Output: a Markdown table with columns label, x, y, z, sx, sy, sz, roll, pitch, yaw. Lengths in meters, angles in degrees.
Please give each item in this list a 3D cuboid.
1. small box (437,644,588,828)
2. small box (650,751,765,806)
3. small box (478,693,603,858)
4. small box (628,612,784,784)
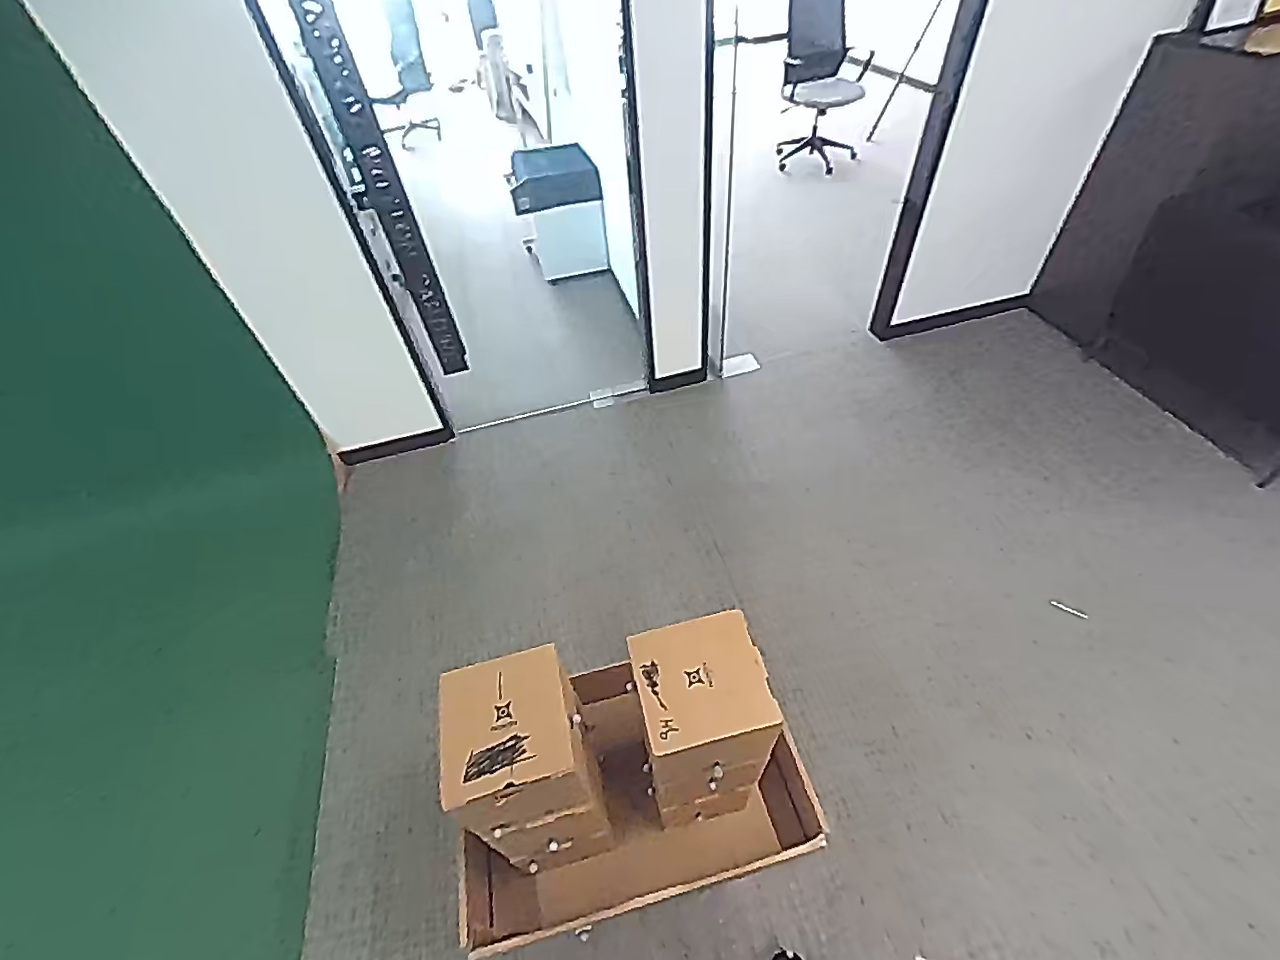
| label | x | y | z | sx | sy | sz | roll | pitch | yaw |
| --- | --- | --- | --- | --- | --- | --- | --- | --- | --- |
| small box | -0.175 | 0.364 | 0.758 | 0.168 | 0.176 | 0.179 | -13 | 47 | -8 |
| small box | 0.093 | 0.426 | 0.908 | 0.179 | 0.176 | 0.168 | -10 | 50 | -6 |
| small box | -0.161 | 0.478 | 0.875 | 0.168 | 0.176 | 0.179 | -12 | 48 | -6 |
| small box | 0.085 | 0.318 | 0.786 | 0.179 | 0.176 | 0.168 | -11 | 49 | -7 |
